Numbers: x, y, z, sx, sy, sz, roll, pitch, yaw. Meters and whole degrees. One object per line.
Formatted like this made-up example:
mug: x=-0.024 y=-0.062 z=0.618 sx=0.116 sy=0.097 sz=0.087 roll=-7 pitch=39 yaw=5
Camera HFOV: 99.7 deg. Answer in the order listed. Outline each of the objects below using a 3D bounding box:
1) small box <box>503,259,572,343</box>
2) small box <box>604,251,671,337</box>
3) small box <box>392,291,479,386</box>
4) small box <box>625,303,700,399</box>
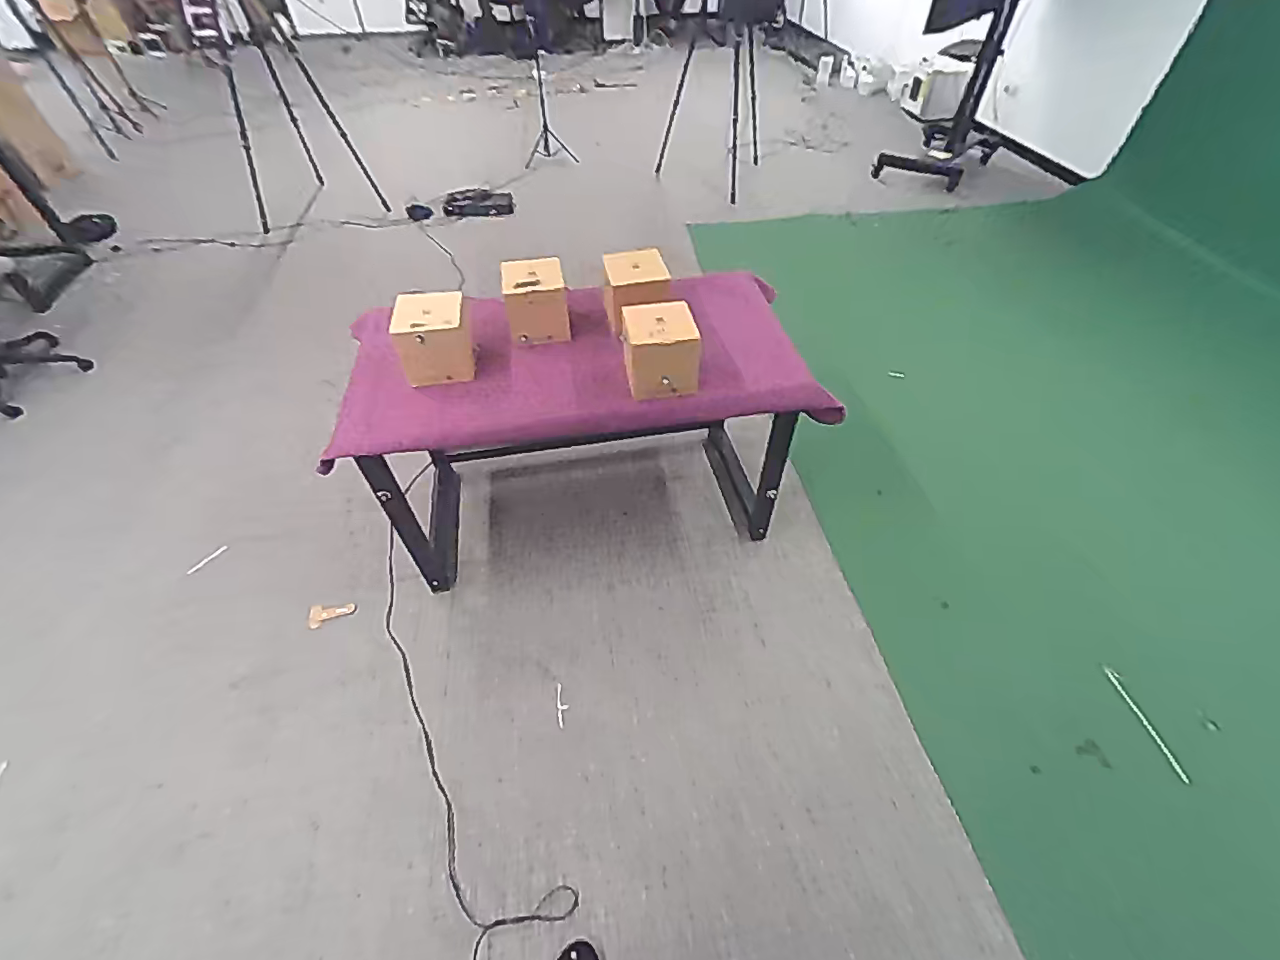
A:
small box: x=-0.291 y=-0.503 z=1.539 sx=0.168 sy=0.176 sz=0.179 roll=-8 pitch=48 yaw=-7
small box: x=-0.010 y=-0.540 z=1.570 sx=0.168 sy=0.176 sz=0.179 roll=-9 pitch=50 yaw=-6
small box: x=-0.528 y=-0.371 z=1.422 sx=0.168 sy=0.176 sz=0.179 roll=-8 pitch=49 yaw=-5
small box: x=0.052 y=-0.329 z=1.379 sx=0.168 sy=0.176 sz=0.179 roll=-7 pitch=48 yaw=-5
